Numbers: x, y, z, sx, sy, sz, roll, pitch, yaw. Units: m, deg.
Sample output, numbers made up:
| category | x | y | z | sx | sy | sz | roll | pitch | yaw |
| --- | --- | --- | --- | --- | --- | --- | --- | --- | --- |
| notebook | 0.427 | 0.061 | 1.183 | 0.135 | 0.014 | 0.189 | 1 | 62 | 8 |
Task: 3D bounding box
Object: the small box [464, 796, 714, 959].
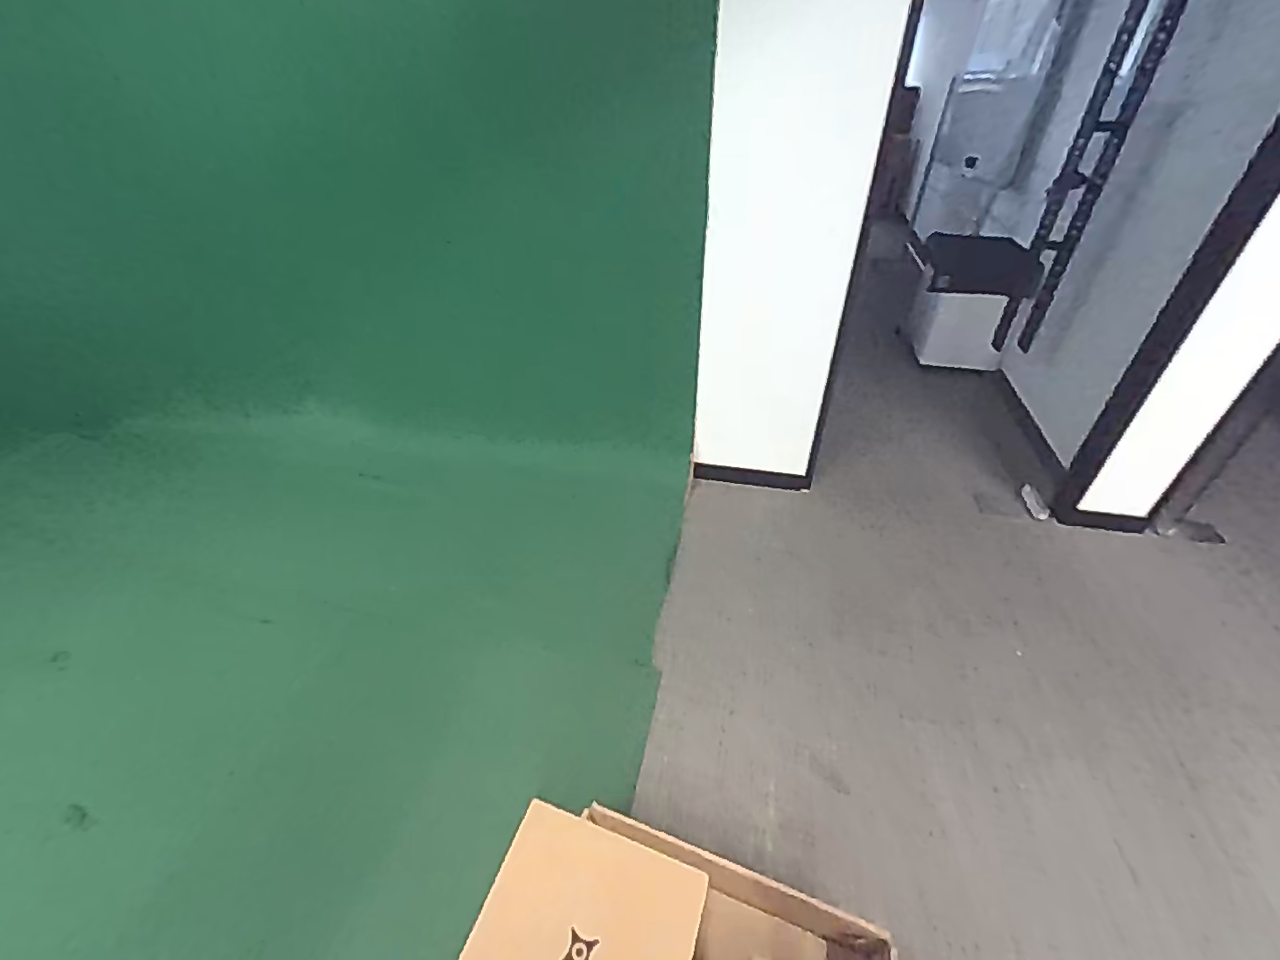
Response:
| category | x | y | z | sx | sy | sz | roll | pitch | yaw |
| --- | --- | --- | --- | --- | --- | --- | --- | --- | --- |
| small box | -0.048 | 0.412 | 0.456 | 0.168 | 0.176 | 0.179 | 16 | 45 | 12 |
